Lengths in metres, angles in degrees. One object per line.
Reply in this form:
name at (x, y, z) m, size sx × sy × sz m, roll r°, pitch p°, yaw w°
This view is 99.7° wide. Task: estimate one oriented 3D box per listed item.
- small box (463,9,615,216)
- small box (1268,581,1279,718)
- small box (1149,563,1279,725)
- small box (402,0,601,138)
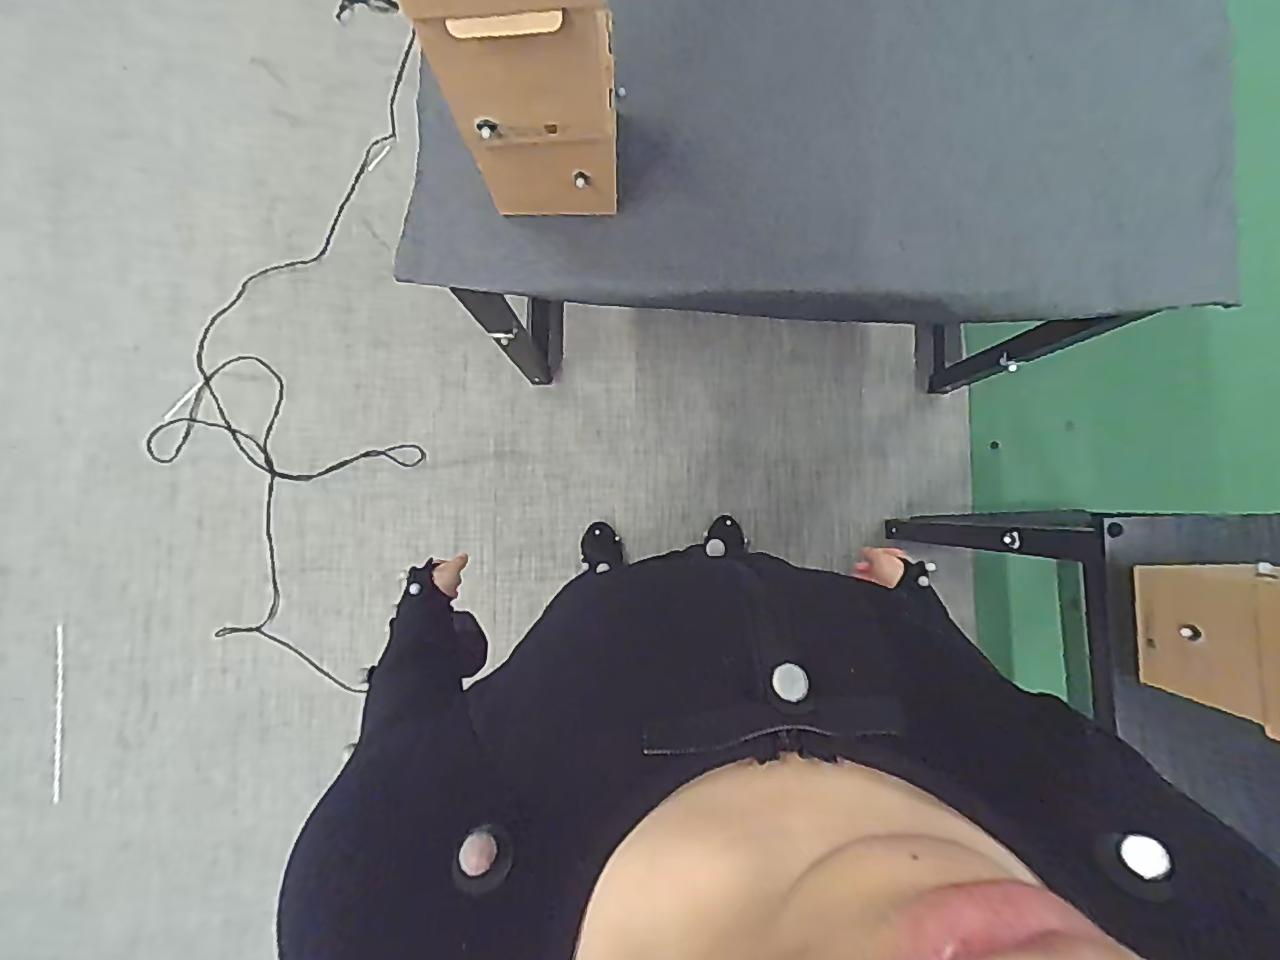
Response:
small box at (-0.122, -0.476, 0.721) m, size 0.179 × 0.176 × 0.168 m, roll -1°, pitch 85°, yaw 1°
small box at (0.775, 0.195, 0.515) m, size 0.168 × 0.176 × 0.179 m, roll -1°, pitch 87°, yaw 1°
small box at (0.792, 0.196, 0.677) m, size 0.179 × 0.176 × 0.168 m, roll -1°, pitch 88°, yaw 0°
small box at (-0.133, -0.486, 0.557) m, size 0.168 × 0.176 × 0.179 m, roll -5°, pitch 84°, yaw -1°
